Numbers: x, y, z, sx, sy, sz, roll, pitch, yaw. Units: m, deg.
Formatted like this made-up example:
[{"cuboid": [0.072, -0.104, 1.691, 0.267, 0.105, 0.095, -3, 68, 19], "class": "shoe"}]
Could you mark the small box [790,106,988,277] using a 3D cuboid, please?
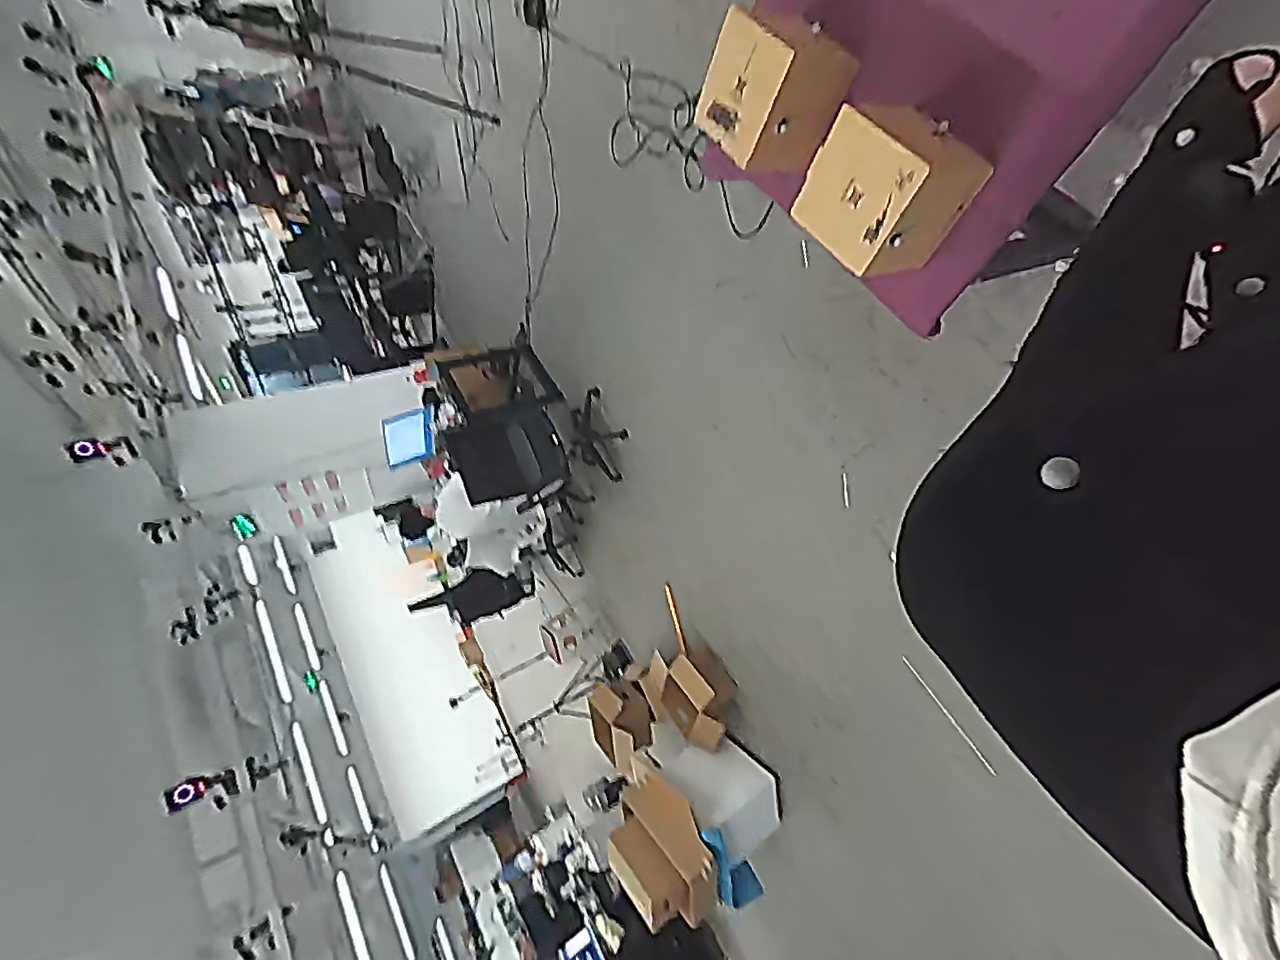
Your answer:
[{"cuboid": [0.375, -0.438, 0.829, 0.179, 0.176, 0.168, 57, 148, 24], "class": "small box"}]

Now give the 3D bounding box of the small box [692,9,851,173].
[{"cuboid": [0.225, -0.664, 0.935, 0.168, 0.176, 0.179, 56, 147, 21], "class": "small box"}]
